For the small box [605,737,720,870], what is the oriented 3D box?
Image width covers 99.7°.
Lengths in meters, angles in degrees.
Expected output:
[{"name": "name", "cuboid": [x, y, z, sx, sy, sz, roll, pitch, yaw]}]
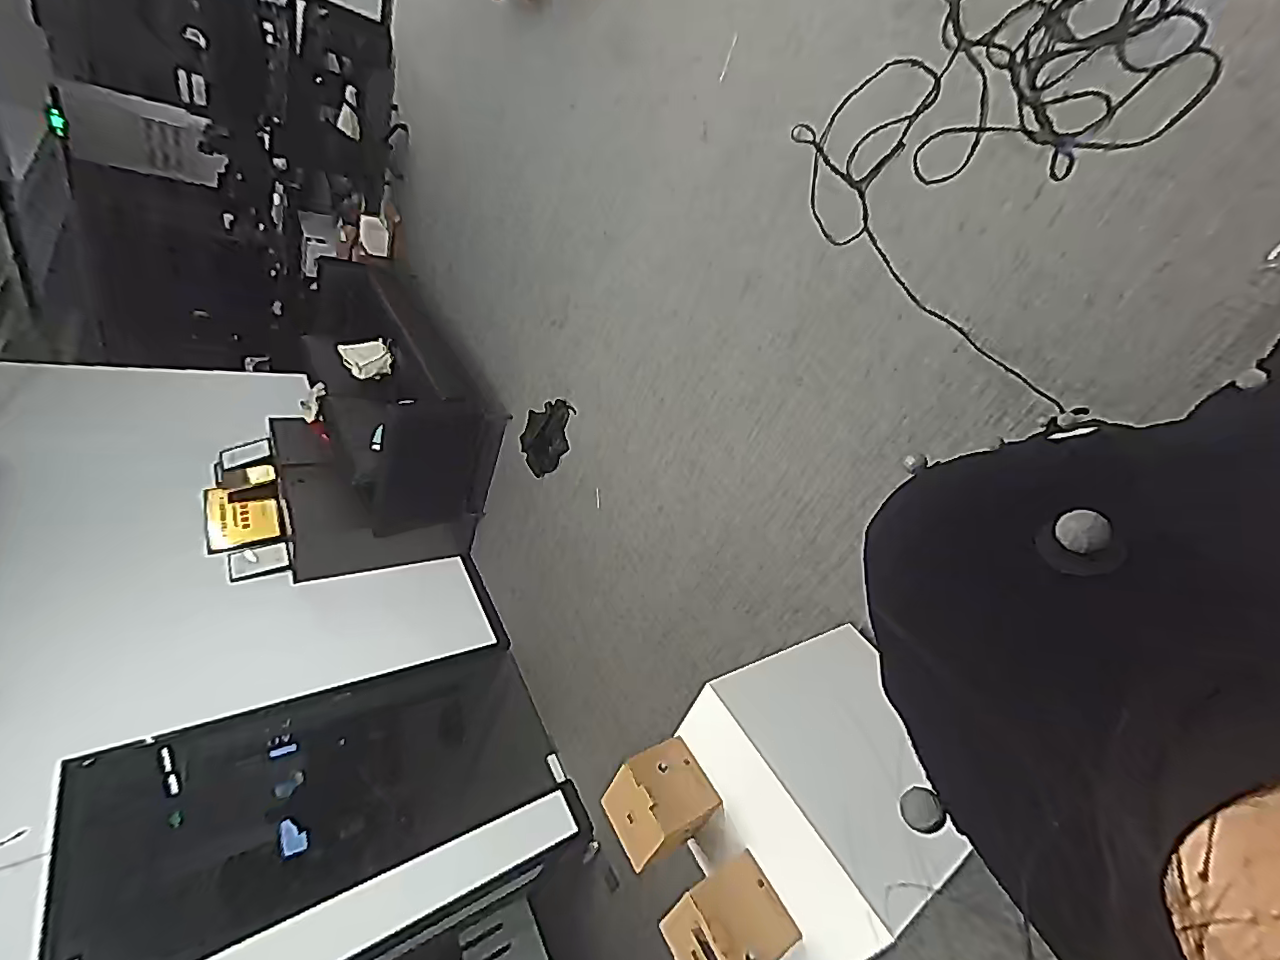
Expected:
[{"name": "small box", "cuboid": [0.052, 0.710, 1.204, 0.168, 0.176, 0.179, 49, 131, 38]}]
